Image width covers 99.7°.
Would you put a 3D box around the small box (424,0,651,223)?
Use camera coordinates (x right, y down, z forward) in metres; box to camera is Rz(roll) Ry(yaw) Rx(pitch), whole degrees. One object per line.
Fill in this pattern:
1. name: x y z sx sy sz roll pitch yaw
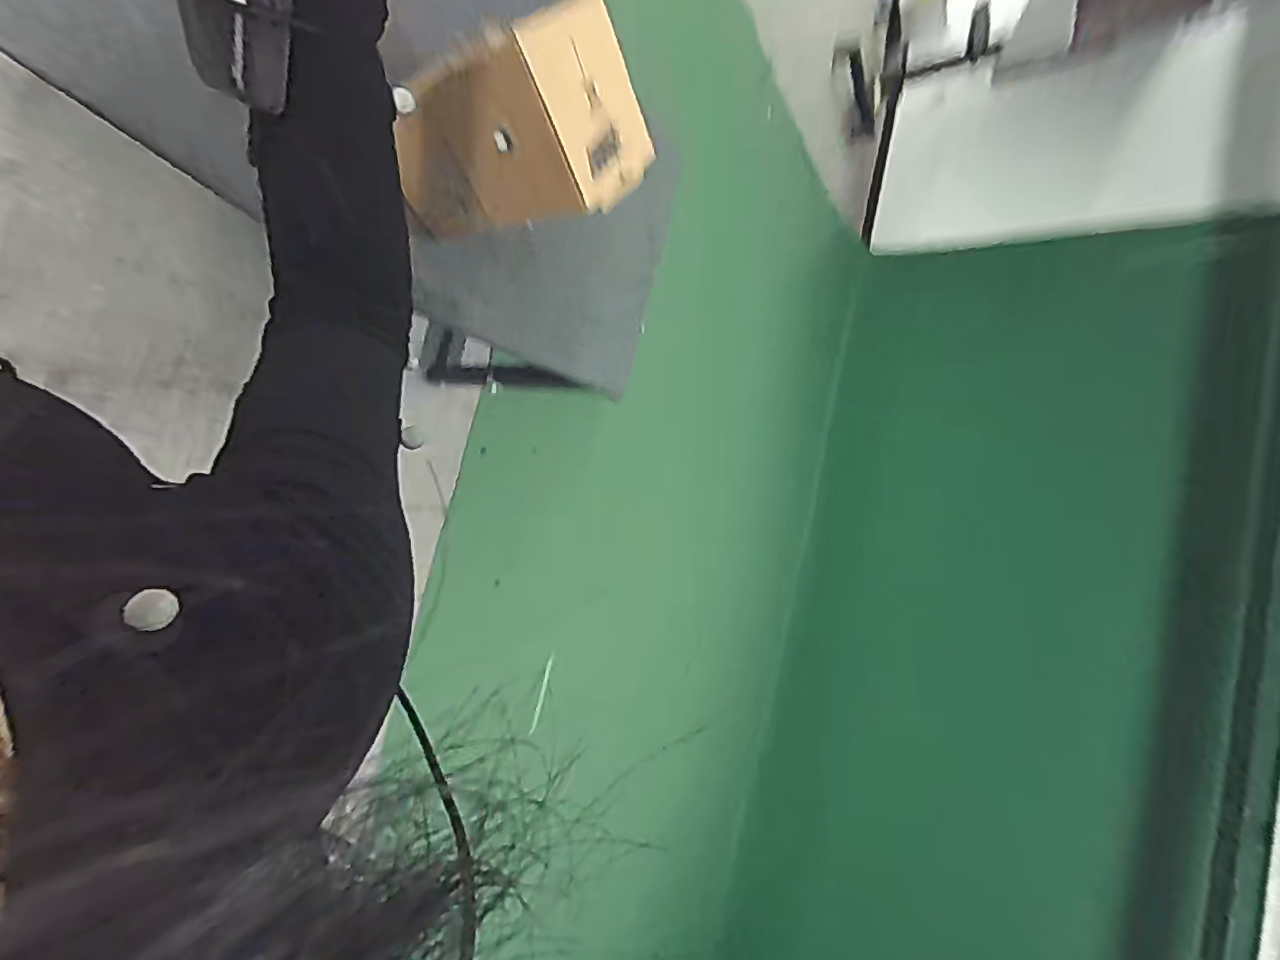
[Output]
1. small box: -0.119 -0.436 0.662 0.168 0.176 0.179 -55 136 -31
